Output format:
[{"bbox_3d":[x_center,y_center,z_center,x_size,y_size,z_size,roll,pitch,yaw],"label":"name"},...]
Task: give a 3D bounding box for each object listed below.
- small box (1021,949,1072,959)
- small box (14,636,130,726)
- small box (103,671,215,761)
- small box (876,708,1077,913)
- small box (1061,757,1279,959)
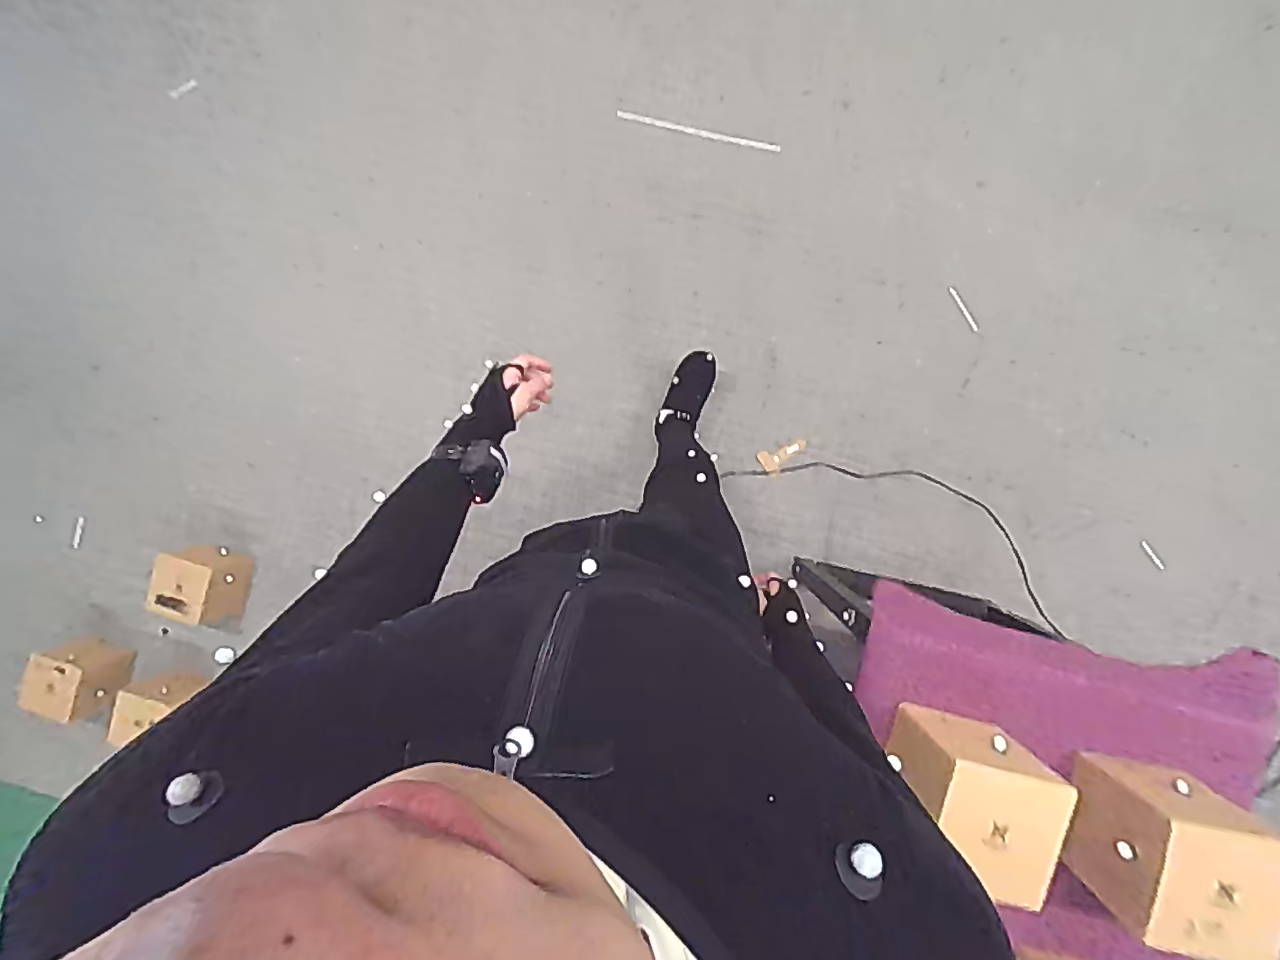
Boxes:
[{"bbox_3d":[0.675,0.861,0.795,0.168,0.176,0.179,13,93,2],"label":"small box"},{"bbox_3d":[-1.707,0.600,1.635,0.168,0.176,0.179,18,94,2],"label":"small box"},{"bbox_3d":[-1.435,0.700,1.624,0.179,0.176,0.168,16,93,3],"label":"small box"},{"bbox_3d":[0.471,0.463,0.786,0.168,0.176,0.179,14,94,1],"label":"small box"},{"bbox_3d":[0.752,0.533,0.774,0.168,0.176,0.179,11,93,3],"label":"small box"}]
